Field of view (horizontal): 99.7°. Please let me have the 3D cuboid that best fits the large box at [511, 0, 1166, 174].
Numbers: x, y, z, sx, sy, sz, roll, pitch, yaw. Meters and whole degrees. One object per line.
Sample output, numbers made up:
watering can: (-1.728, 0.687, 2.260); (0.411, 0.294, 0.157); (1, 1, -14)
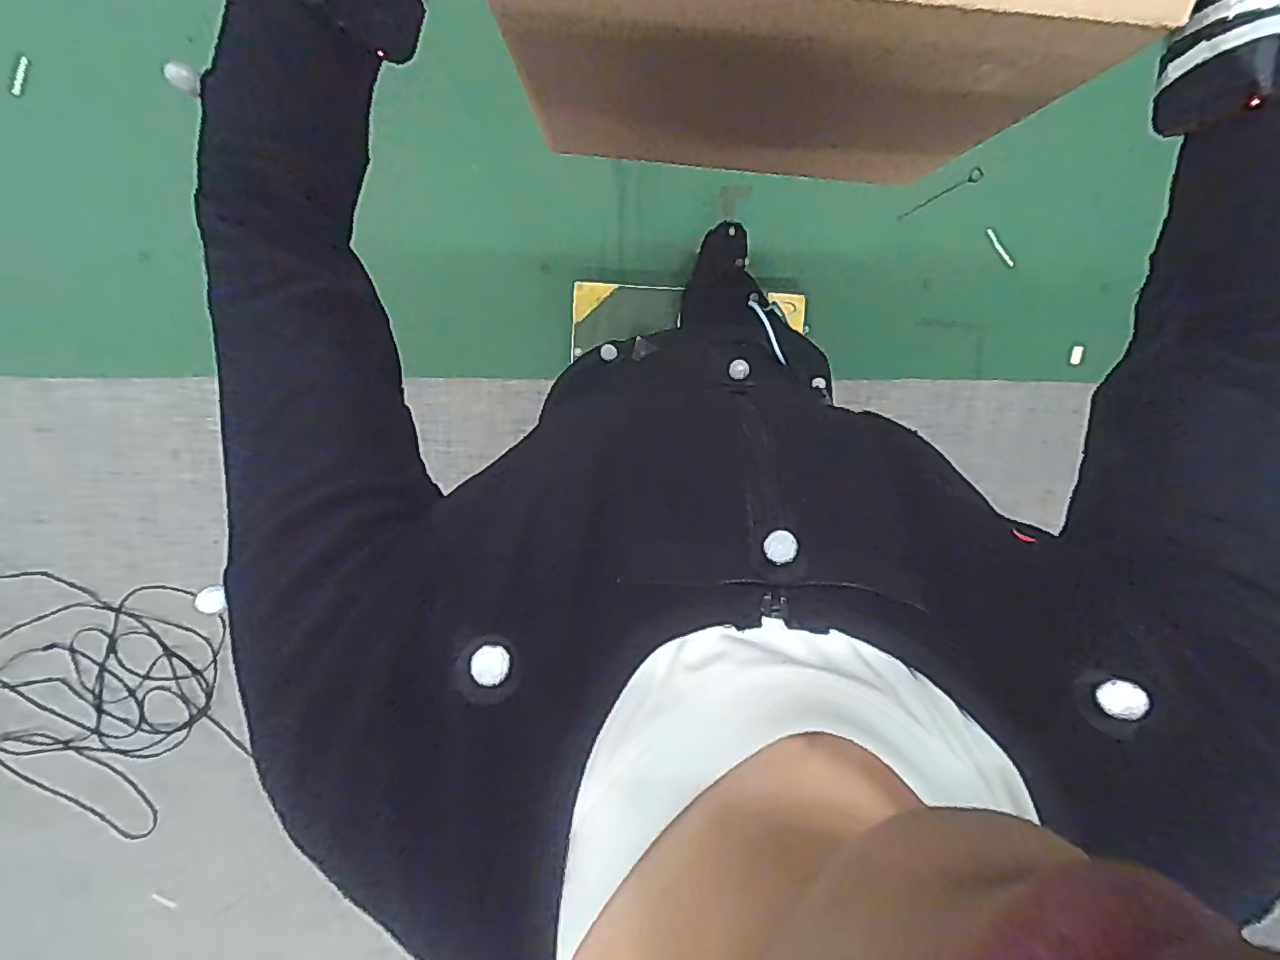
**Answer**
large box: (0.116, -0.464, 0.422); (0.408, 0.320, 0.320); (3, 104, -3)
